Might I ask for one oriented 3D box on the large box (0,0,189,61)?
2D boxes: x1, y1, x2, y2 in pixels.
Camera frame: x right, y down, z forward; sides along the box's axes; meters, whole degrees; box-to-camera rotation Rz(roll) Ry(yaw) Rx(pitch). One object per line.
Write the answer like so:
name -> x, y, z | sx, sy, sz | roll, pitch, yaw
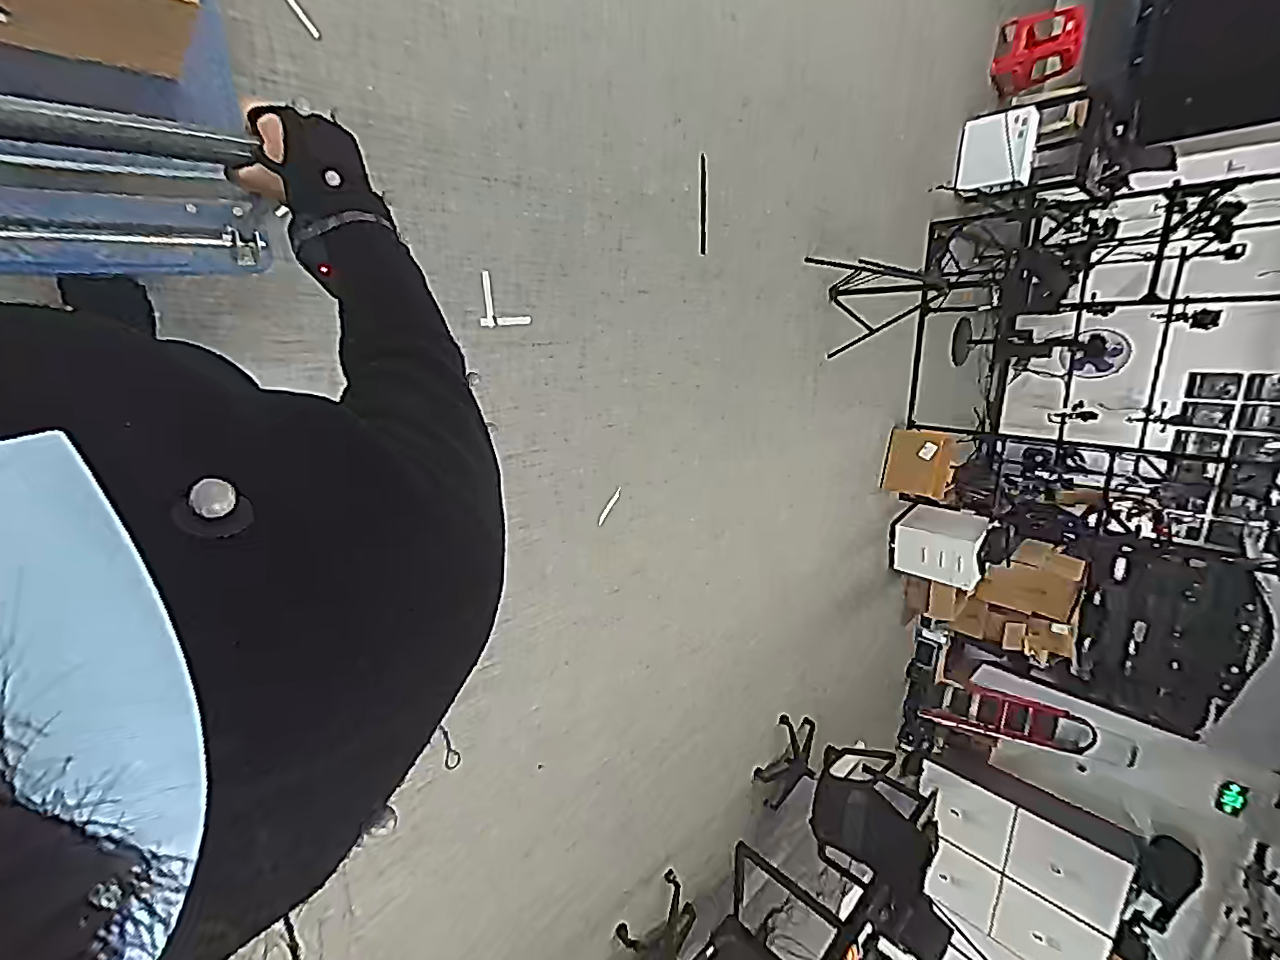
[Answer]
large box -> -0.861, -0.789, 0.666 | 0.408, 0.320, 0.320 | -18, 112, -40
